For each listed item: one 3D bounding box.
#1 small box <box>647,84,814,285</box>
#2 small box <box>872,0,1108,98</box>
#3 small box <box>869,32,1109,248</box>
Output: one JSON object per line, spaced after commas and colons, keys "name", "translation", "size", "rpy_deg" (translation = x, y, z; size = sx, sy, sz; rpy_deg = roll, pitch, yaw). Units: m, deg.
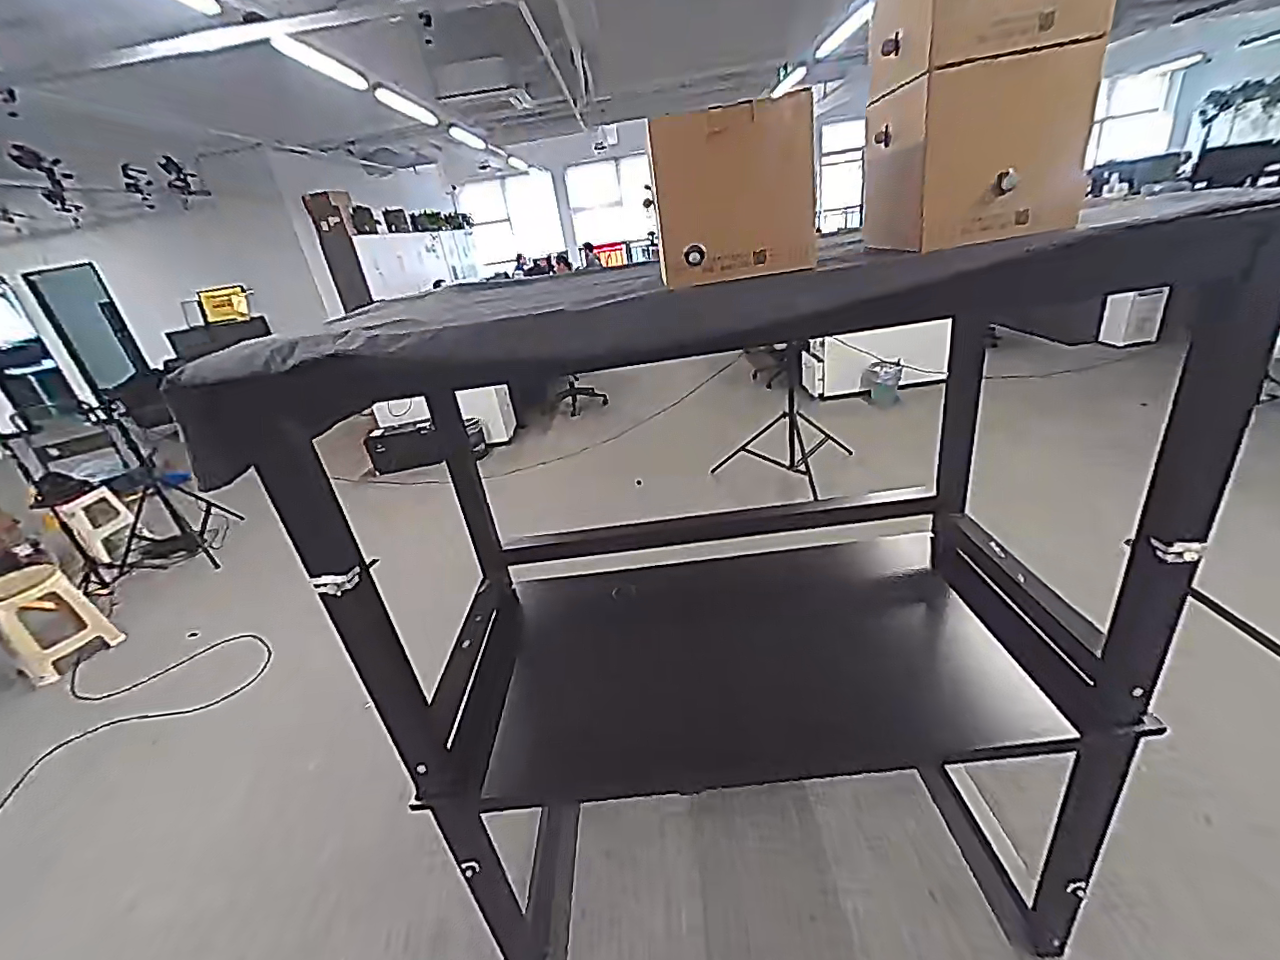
{"name": "small box", "translation": [0.101, -0.331, 0.637], "size": [0.168, 0.176, 0.179], "rpy_deg": [-7, 23, 3]}
{"name": "small box", "translation": [0.350, -0.516, 0.553], "size": [0.168, 0.176, 0.179], "rpy_deg": [-7, 25, 5]}
{"name": "small box", "translation": [0.373, -0.368, 0.620], "size": [0.168, 0.176, 0.179], "rpy_deg": [-8, 24, 5]}
